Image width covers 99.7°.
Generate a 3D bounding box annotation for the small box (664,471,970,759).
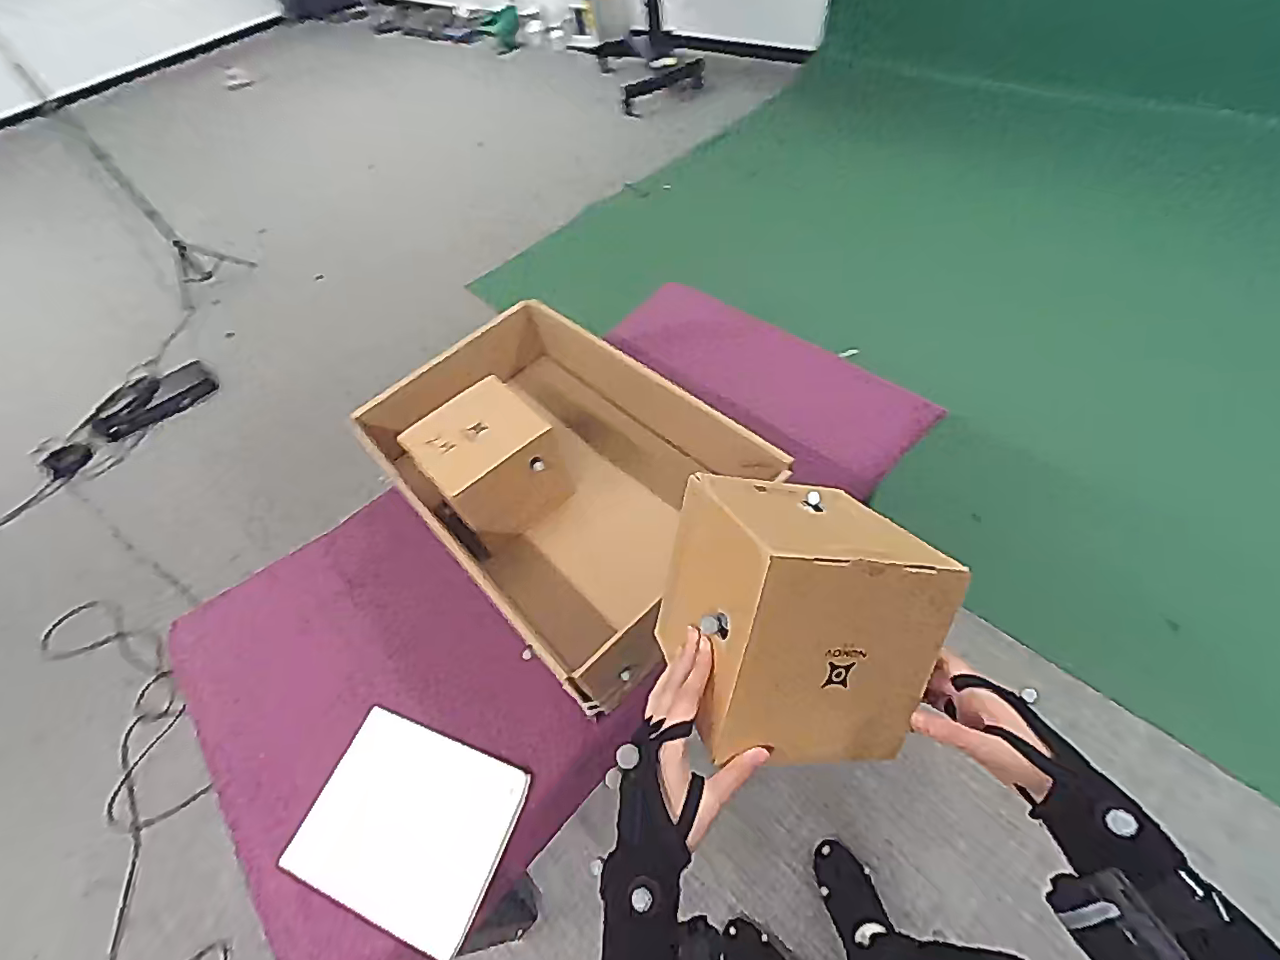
[{"bbox_3d":[0.128,0.107,0.466,0.168,0.179,0.176,7,17,-15],"label":"small box"}]
